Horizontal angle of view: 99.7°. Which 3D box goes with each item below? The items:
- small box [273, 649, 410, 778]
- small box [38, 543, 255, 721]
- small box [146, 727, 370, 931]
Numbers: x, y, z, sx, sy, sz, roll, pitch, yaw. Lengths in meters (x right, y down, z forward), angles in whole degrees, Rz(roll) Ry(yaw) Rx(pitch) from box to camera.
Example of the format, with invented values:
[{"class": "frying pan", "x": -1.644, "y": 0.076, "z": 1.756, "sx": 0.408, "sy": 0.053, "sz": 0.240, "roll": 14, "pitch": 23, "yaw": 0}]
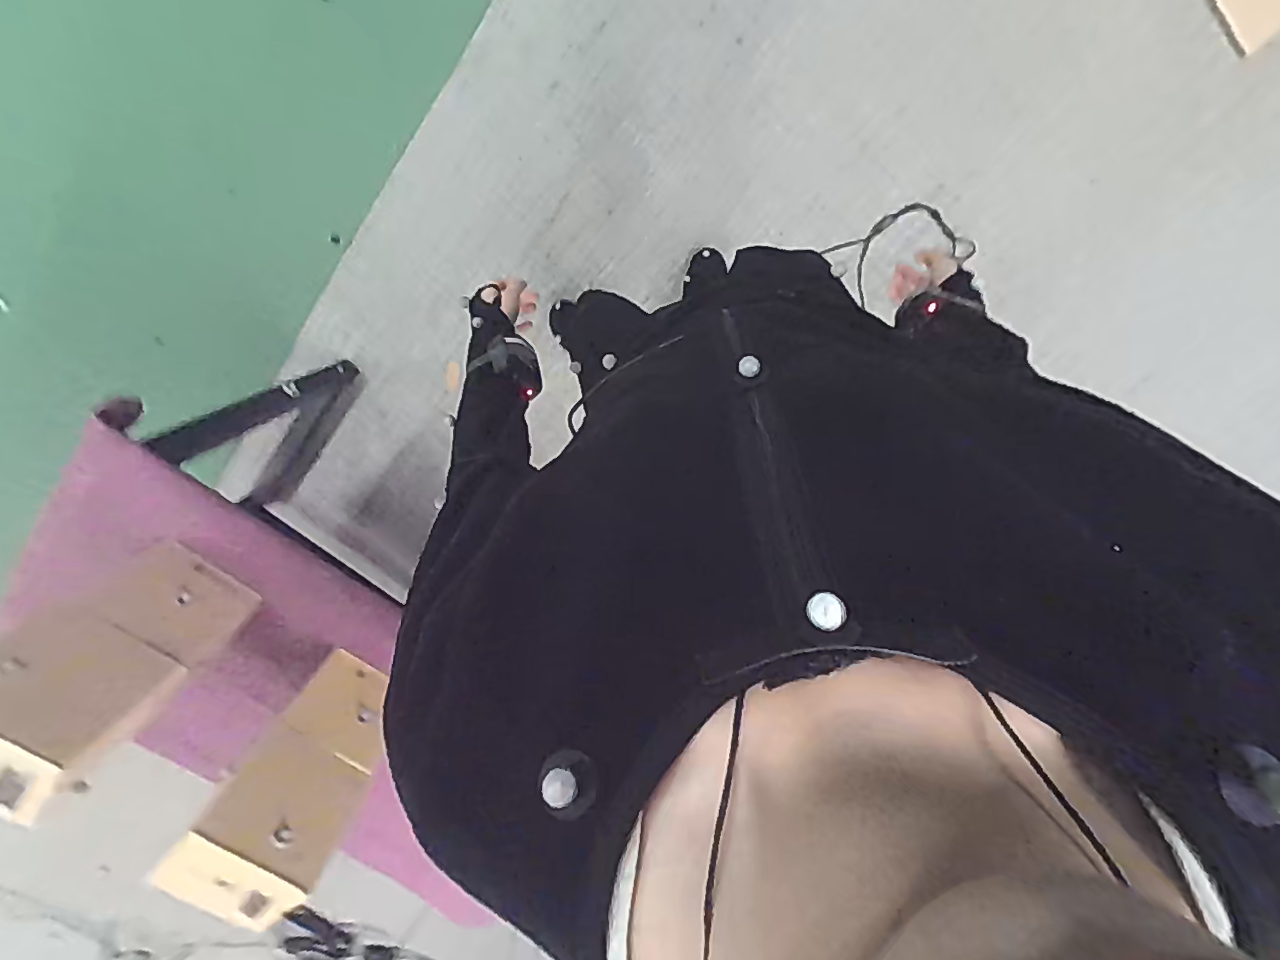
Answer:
[{"class": "small box", "x": -0.529, "y": 0.430, "z": 0.936, "sx": 0.168, "sy": 0.176, "sz": 0.179, "roll": 38, "pitch": 113, "yaw": -14}, {"class": "small box", "x": -0.762, "y": 0.233, "z": 0.856, "sx": 0.168, "sy": 0.176, "sz": 0.179, "roll": 42, "pitch": 112, "yaw": -15}, {"class": "small box", "x": -0.538, "y": 0.500, "z": 0.787, "sx": 0.179, "sy": 0.176, "sz": 0.168, "roll": 42, "pitch": 112, "yaw": -14}]
